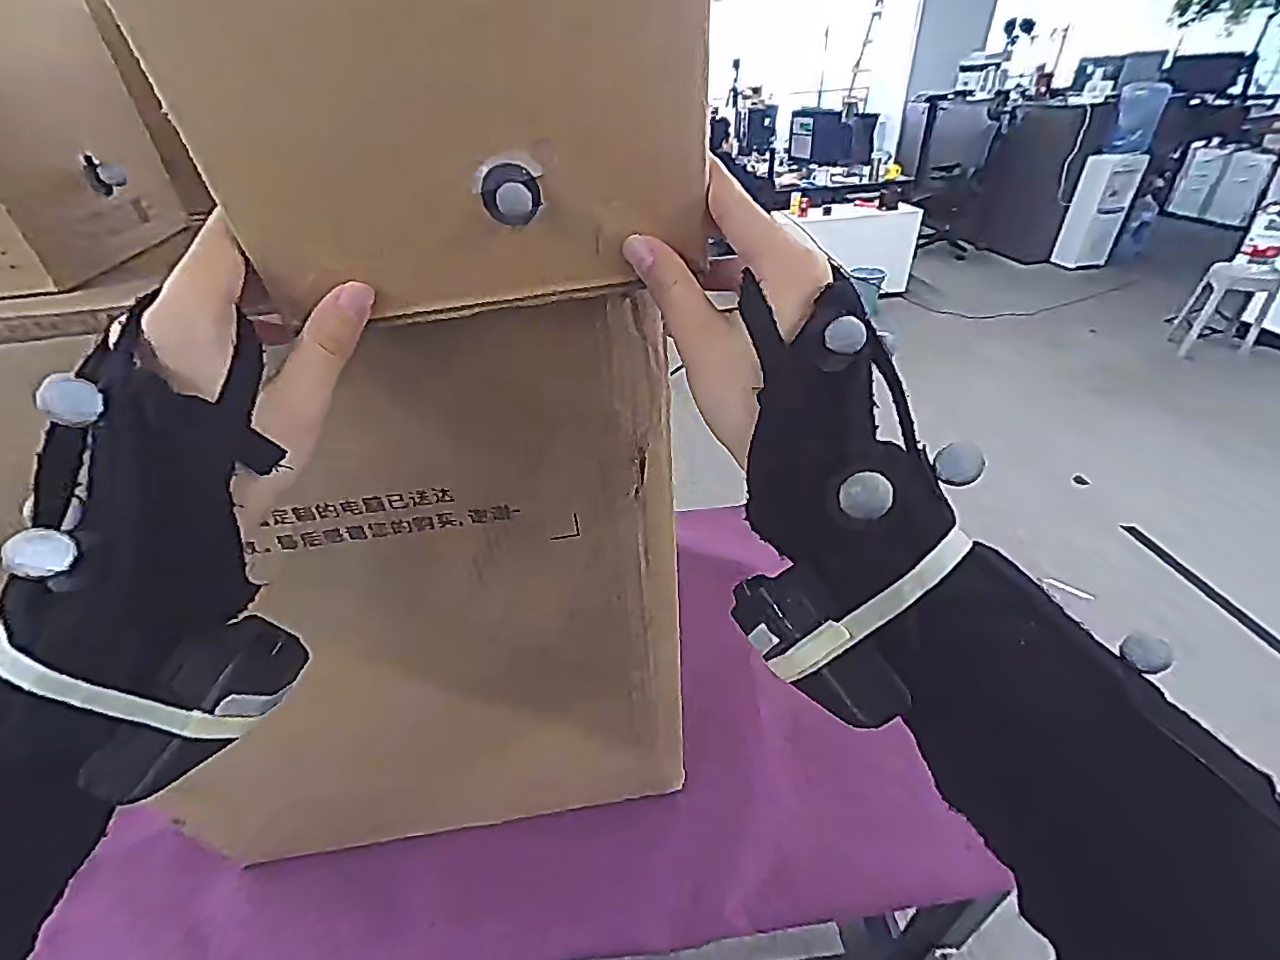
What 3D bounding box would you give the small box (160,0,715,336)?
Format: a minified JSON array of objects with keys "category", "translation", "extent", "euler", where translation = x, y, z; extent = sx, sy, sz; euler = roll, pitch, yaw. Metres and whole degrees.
[{"category":"small box","translation":[-0.071,-0.187,0.233],"extent":[0.179,0.176,0.168],"euler":[-10,42,-6]}]
